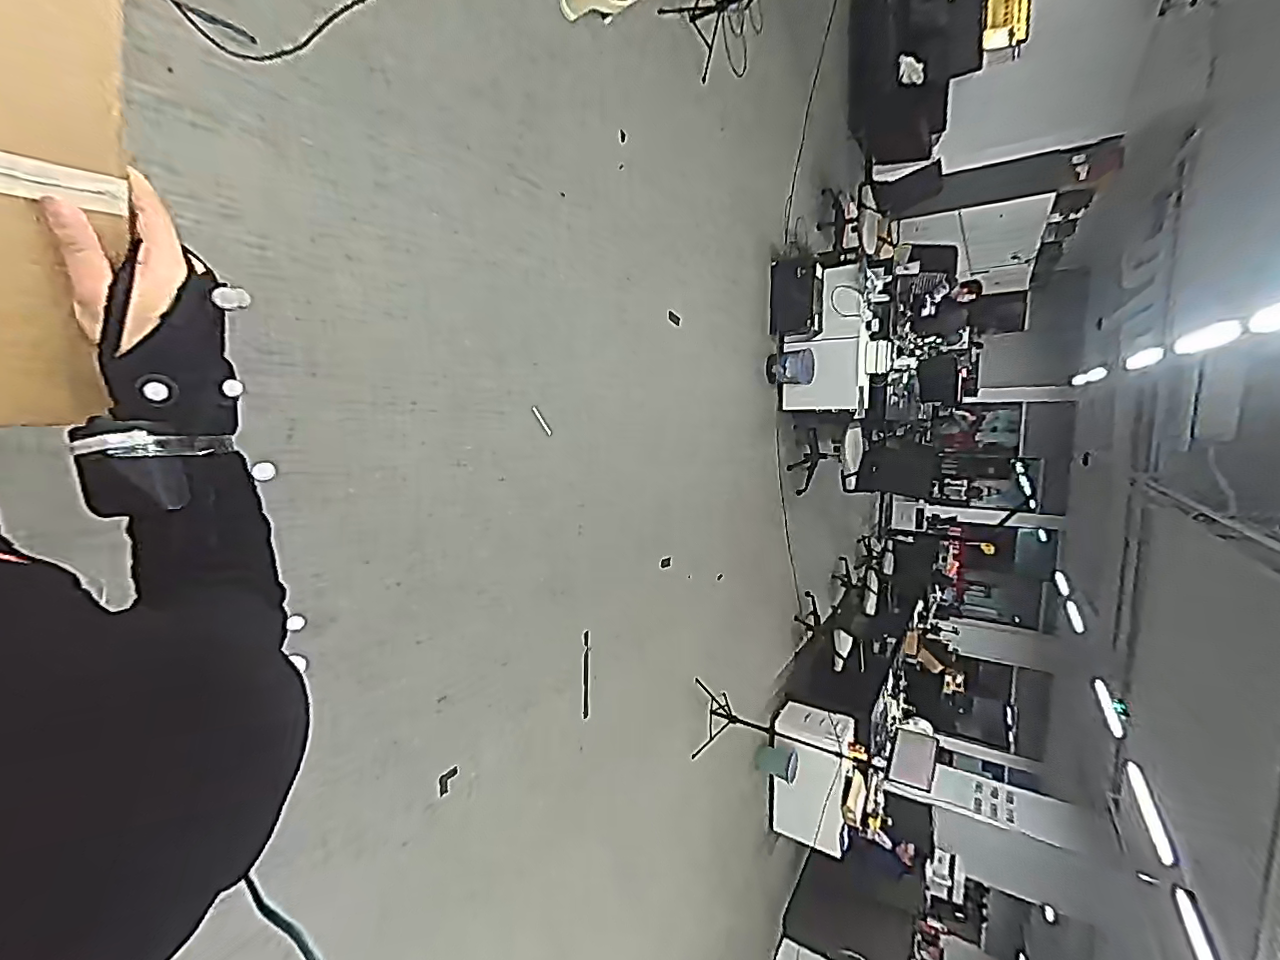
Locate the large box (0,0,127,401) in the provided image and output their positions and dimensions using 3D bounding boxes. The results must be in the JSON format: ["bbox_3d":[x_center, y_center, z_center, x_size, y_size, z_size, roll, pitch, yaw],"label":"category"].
[{"bbox_3d":[-0.554,-0.235,0.244,0.408,0.320,0.320,-14,135,-54],"label":"large box"}]
